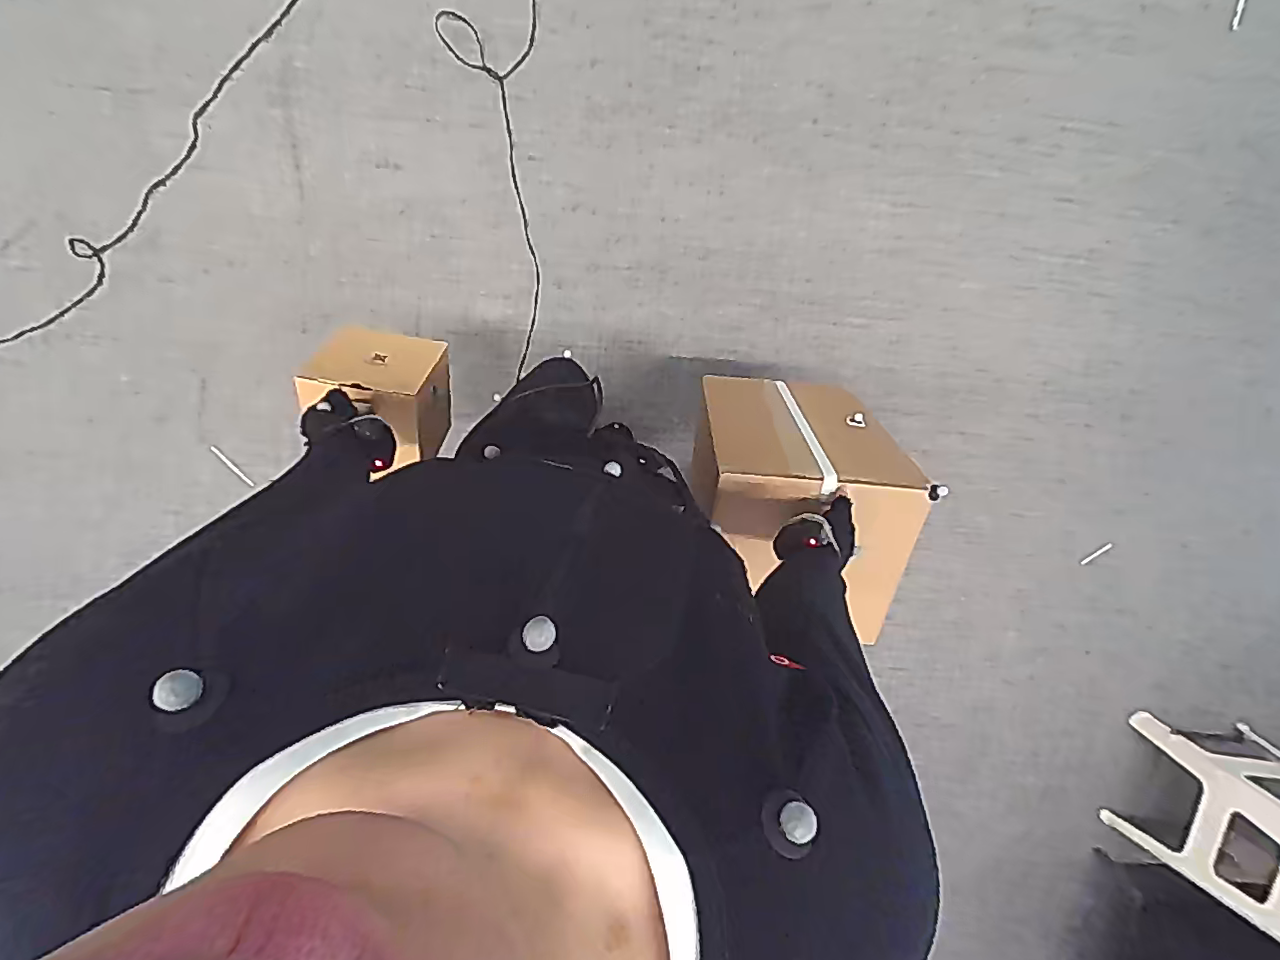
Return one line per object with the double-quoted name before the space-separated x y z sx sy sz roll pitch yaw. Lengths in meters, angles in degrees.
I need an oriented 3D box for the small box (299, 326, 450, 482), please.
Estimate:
"small box" -0.415 -0.123 0.877 0.168 0.179 0.176 8 130 -7
